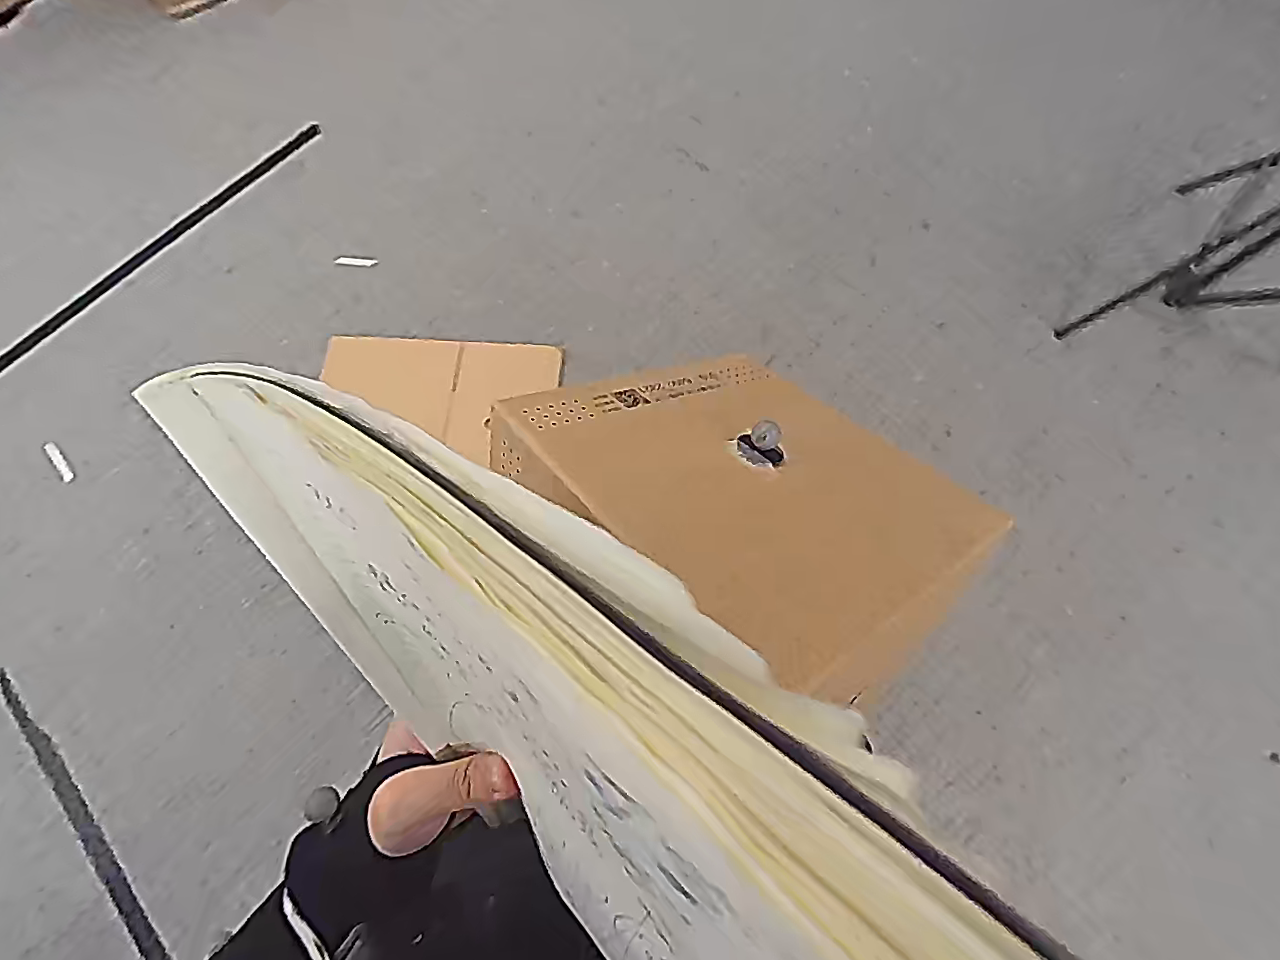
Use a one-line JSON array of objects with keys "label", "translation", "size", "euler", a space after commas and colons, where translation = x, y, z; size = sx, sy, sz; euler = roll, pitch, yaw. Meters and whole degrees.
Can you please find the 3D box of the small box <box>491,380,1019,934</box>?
[{"label": "small box", "translation": [0.036, 0.061, 0.275], "size": [0.168, 0.179, 0.176], "euler": [-18, 44, -36]}]
